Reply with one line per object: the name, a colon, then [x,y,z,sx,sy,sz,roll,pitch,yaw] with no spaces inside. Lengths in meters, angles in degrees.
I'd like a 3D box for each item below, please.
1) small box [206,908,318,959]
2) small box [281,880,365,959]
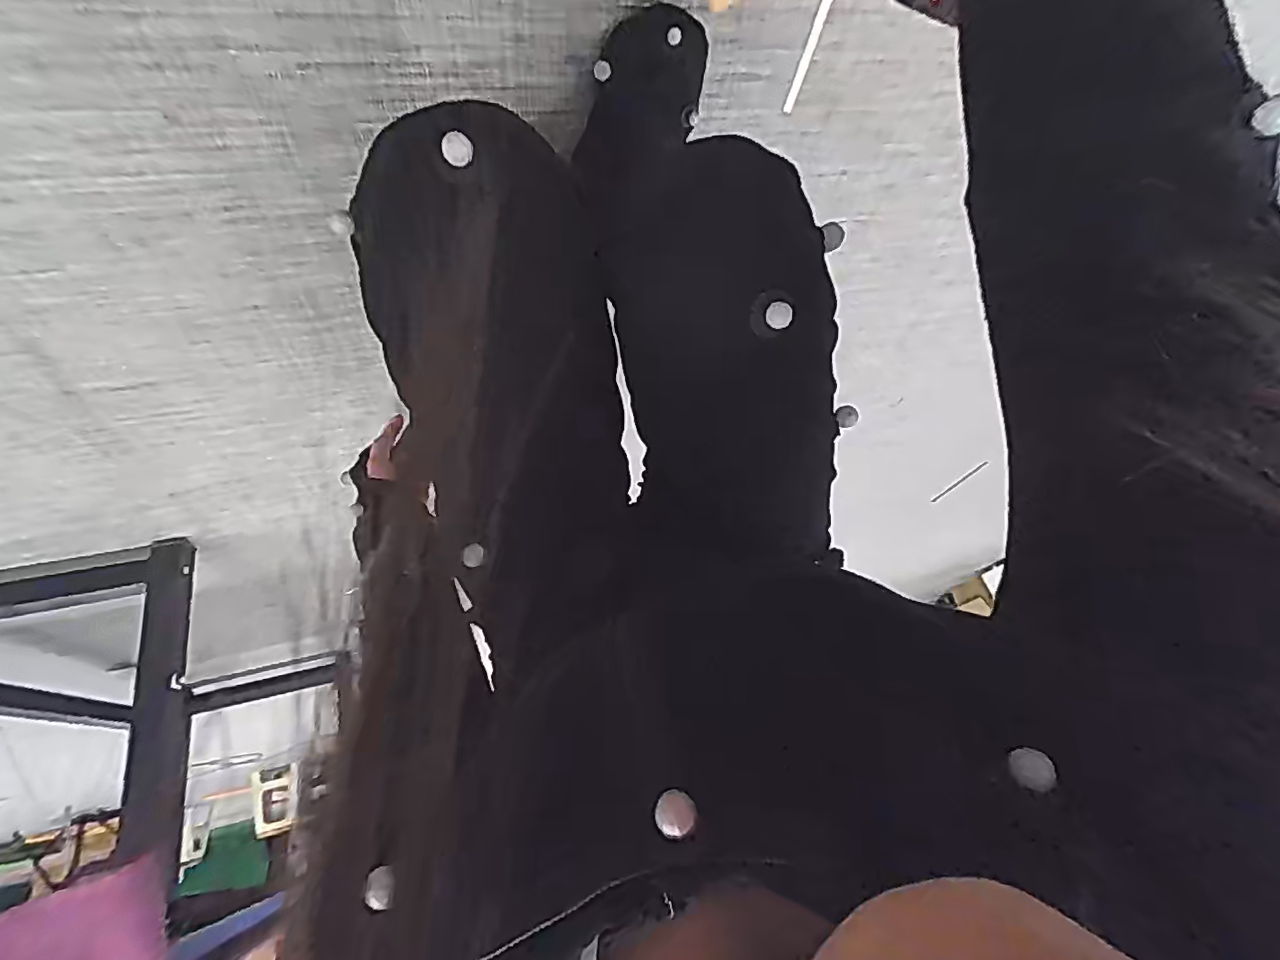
small box: [-0.868,1.124,1.247,0.179,0.176,0.168,-11,155,-13]
small box: [-0.898,1.268,1.537,0.168,0.176,0.179,-11,155,-13]
